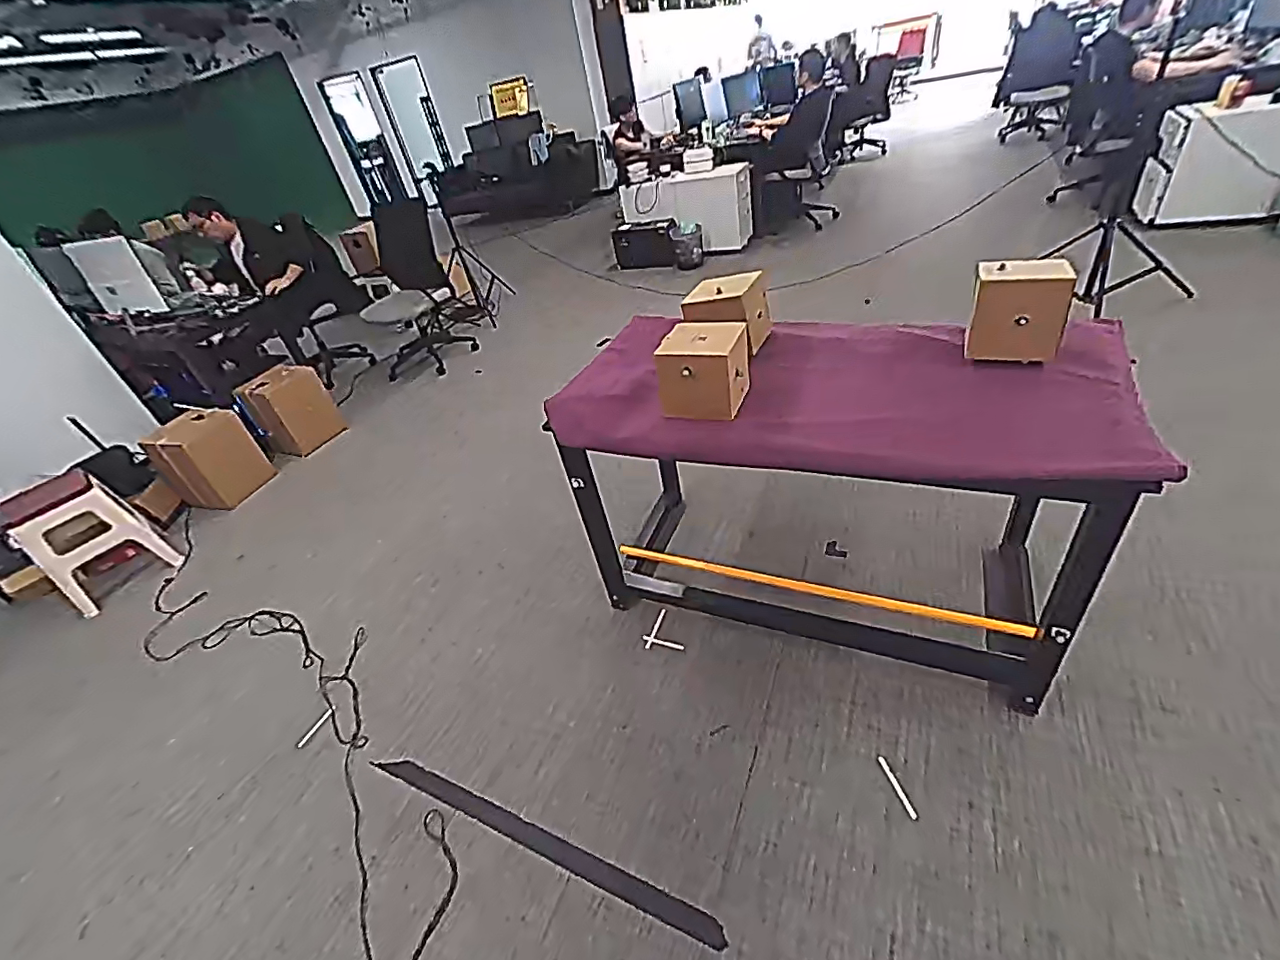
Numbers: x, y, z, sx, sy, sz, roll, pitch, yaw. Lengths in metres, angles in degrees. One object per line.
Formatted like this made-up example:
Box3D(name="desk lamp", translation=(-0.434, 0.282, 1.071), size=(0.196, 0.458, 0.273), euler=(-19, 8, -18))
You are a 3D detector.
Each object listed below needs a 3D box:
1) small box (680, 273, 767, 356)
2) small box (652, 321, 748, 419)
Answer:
Box3D(name="small box", translation=(0.234, -0.441, 1.454), size=(0.179, 0.168, 0.176), euler=(4, 39, 32))
Box3D(name="small box", translation=(0.149, -0.257, 1.267), size=(0.179, 0.176, 0.168), euler=(6, 41, 24))
